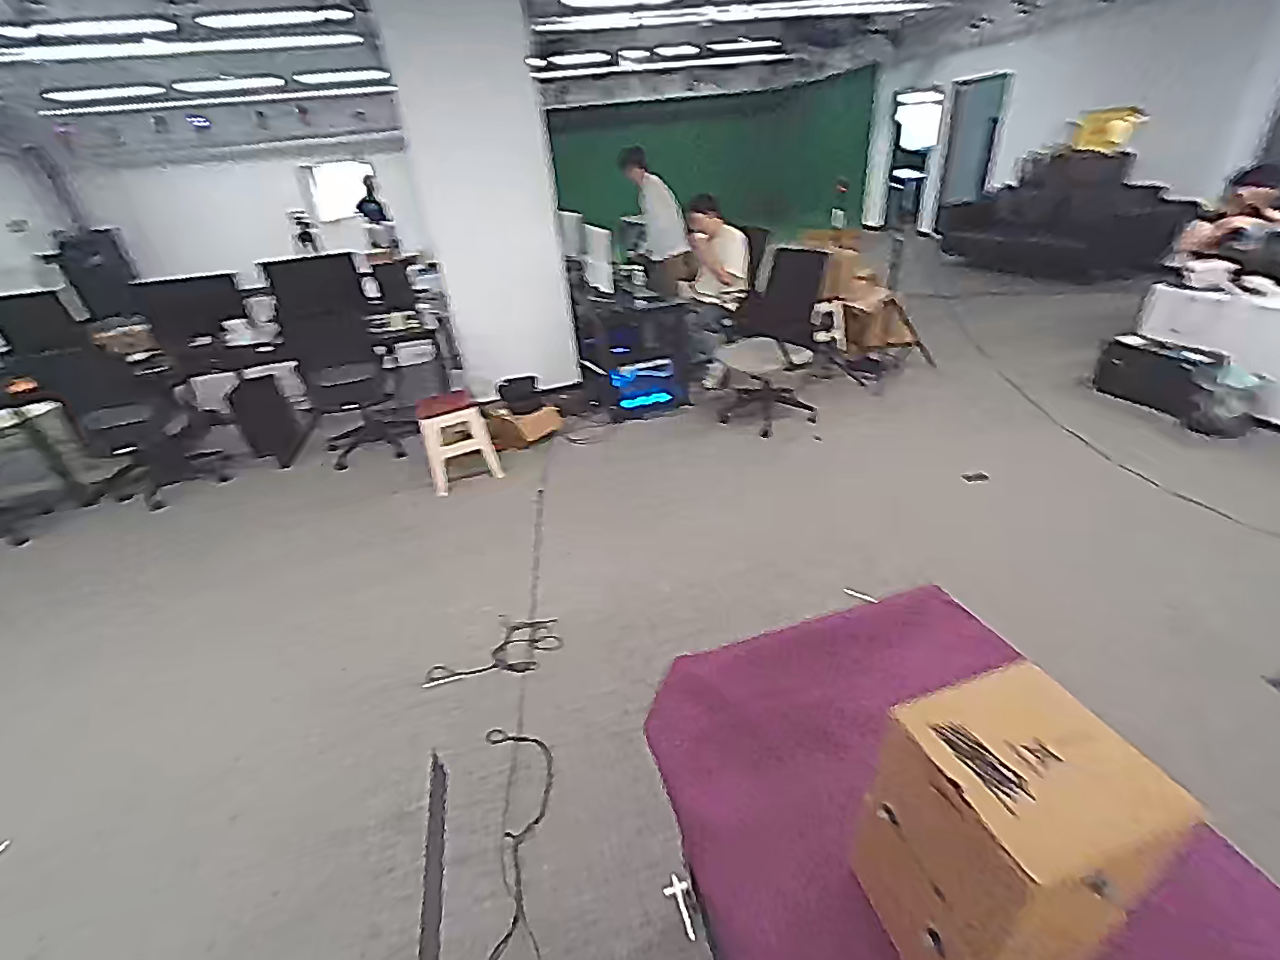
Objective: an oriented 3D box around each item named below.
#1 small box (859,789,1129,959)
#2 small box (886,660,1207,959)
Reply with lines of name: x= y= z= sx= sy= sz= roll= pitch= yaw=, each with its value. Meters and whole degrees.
small box: x=0.372 y=0.457 z=0.609 sx=0.168 sy=0.176 sz=0.179 roll=-12 pitch=31 yaw=-10
small box: x=0.364 y=0.315 z=0.526 sx=0.179 sy=0.176 sz=0.168 roll=-13 pitch=32 yaw=-12
